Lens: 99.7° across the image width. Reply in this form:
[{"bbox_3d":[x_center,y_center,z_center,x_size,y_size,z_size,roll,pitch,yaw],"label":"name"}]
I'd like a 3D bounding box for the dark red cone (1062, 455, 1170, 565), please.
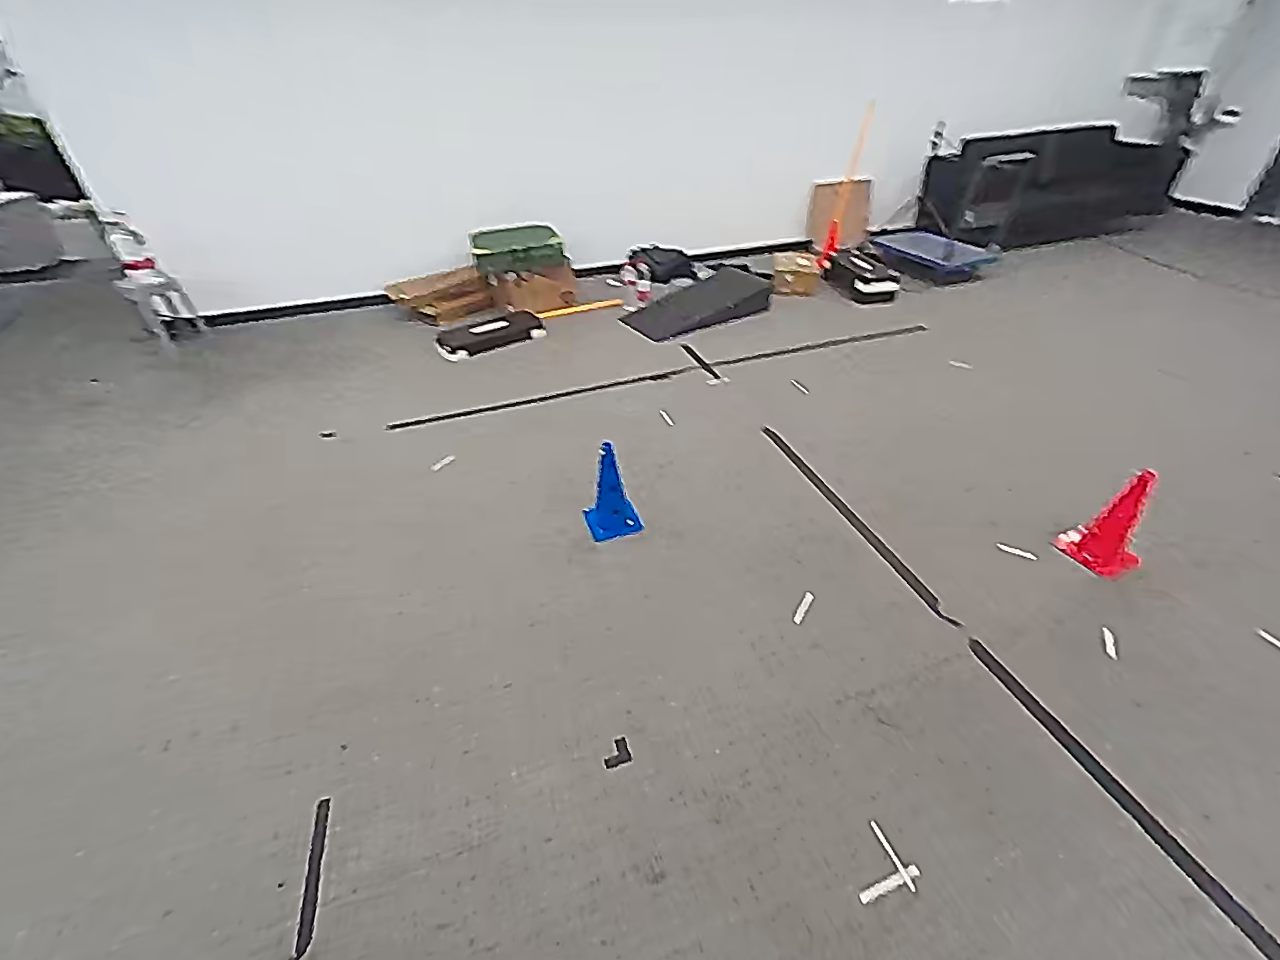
[{"bbox_3d":[1.624,0.081,1.794,0.201,0.394,0.202,-19,41,-19],"label":"dark red cone"}]

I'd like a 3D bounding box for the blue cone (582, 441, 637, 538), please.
[{"bbox_3d":[-0.123,0.017,1.999,0.192,0.380,0.193,-13,39,-13],"label":"blue cone"}]
